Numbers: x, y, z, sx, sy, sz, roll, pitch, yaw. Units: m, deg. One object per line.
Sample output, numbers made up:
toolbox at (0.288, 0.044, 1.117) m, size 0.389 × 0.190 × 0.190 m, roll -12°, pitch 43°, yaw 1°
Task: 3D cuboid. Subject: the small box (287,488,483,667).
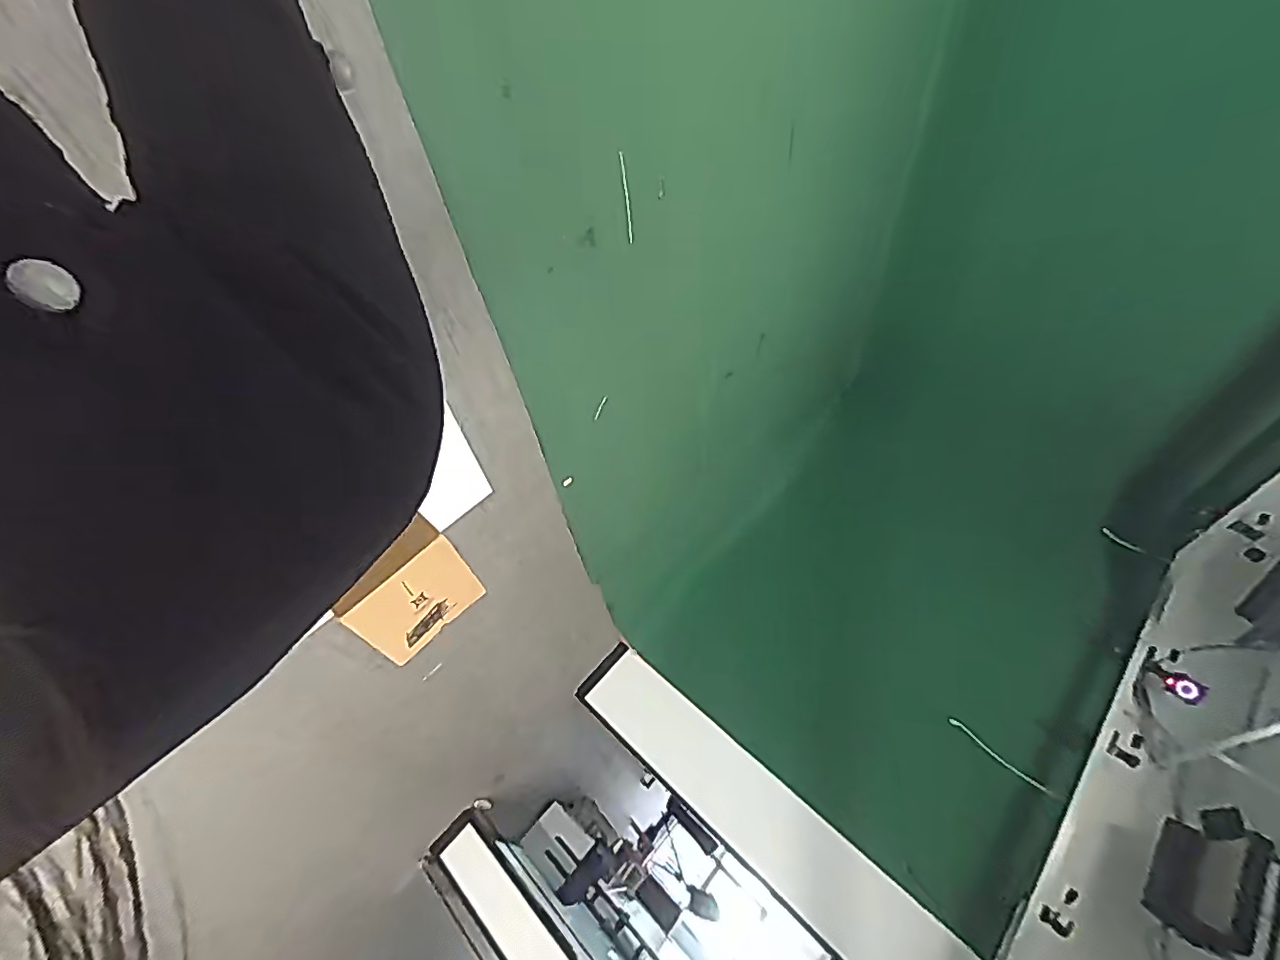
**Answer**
small box at (-0.376, 0.142, 0.812) m, size 0.168 × 0.176 × 0.179 m, roll -44°, pitch 150°, yaw -20°
